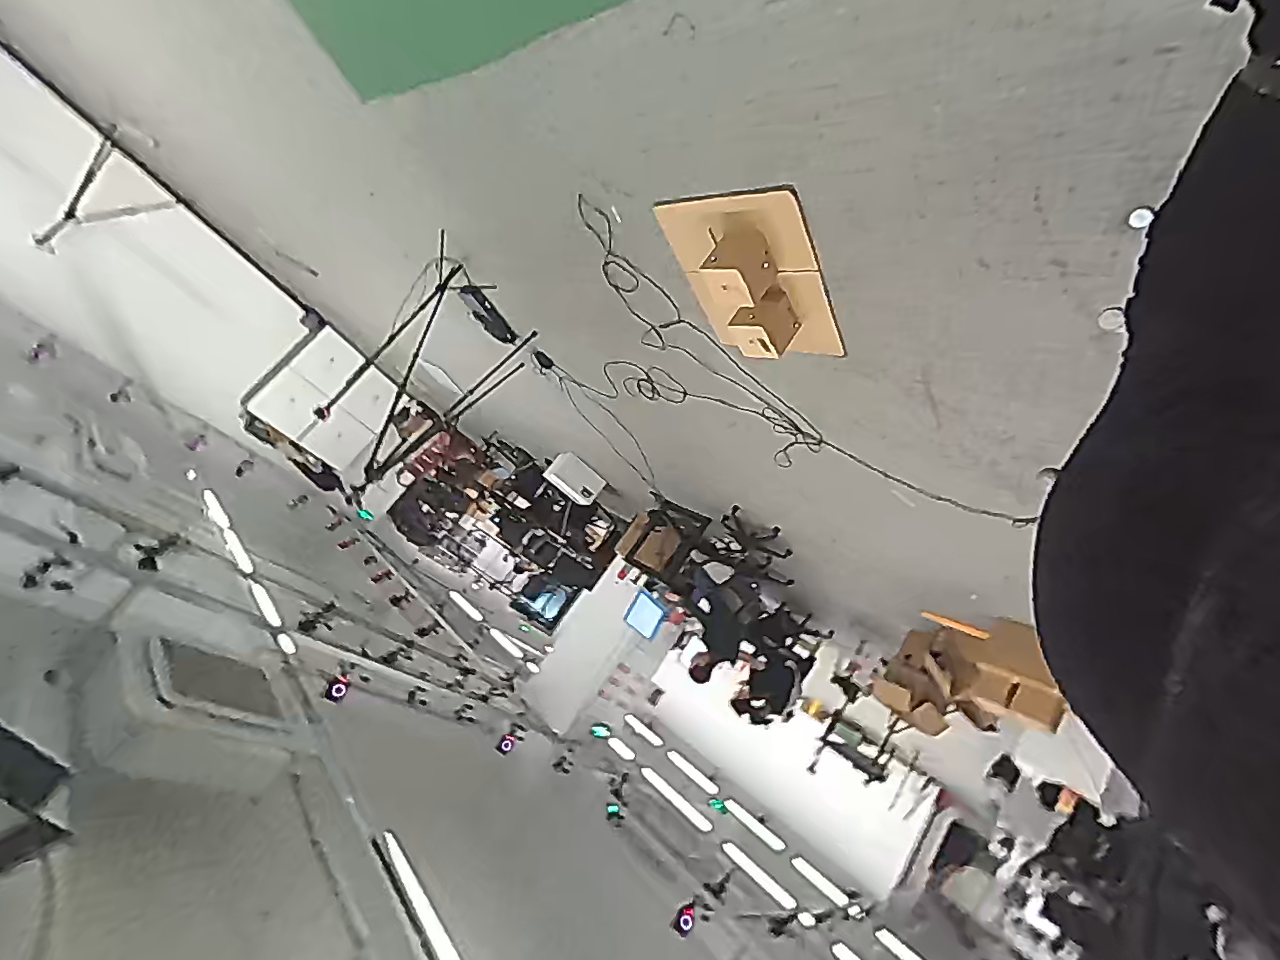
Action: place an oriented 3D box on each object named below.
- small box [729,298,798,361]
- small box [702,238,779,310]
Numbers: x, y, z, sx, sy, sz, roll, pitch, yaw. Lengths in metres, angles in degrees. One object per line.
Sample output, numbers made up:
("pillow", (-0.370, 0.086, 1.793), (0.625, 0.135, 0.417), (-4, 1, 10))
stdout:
("small box", (0.477, -0.573, 2.046), (0.179, 0.176, 0.168), (20, 159, 48))
("small box", (0.353, -0.720, 1.884), (0.179, 0.176, 0.168), (21, 160, 44))
